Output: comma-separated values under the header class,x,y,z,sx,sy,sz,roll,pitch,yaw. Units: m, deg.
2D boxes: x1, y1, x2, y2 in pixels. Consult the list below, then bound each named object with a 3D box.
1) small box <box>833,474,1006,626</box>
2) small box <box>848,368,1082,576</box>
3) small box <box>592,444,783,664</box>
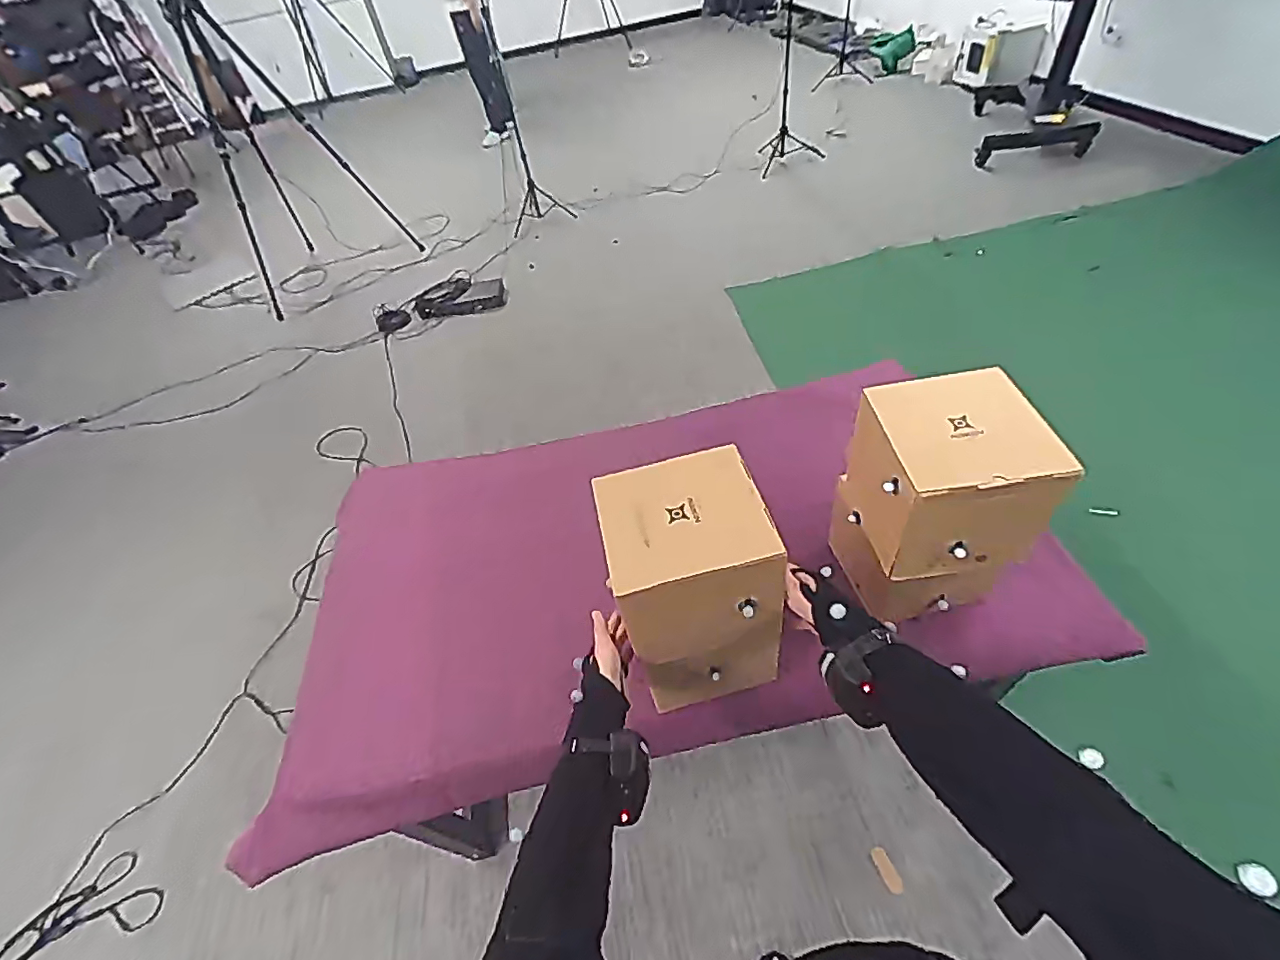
class,x,y,z,sx,sy,sz,roll,pitch,yaw
small box,0.401,0.086,0.787,0.179,0.176,0.168,-15,45,0
small box,0.365,-0.008,0.655,0.168,0.176,0.179,-9,47,5
small box,0.053,0.089,0.630,0.179,0.176,0.168,-14,45,0
